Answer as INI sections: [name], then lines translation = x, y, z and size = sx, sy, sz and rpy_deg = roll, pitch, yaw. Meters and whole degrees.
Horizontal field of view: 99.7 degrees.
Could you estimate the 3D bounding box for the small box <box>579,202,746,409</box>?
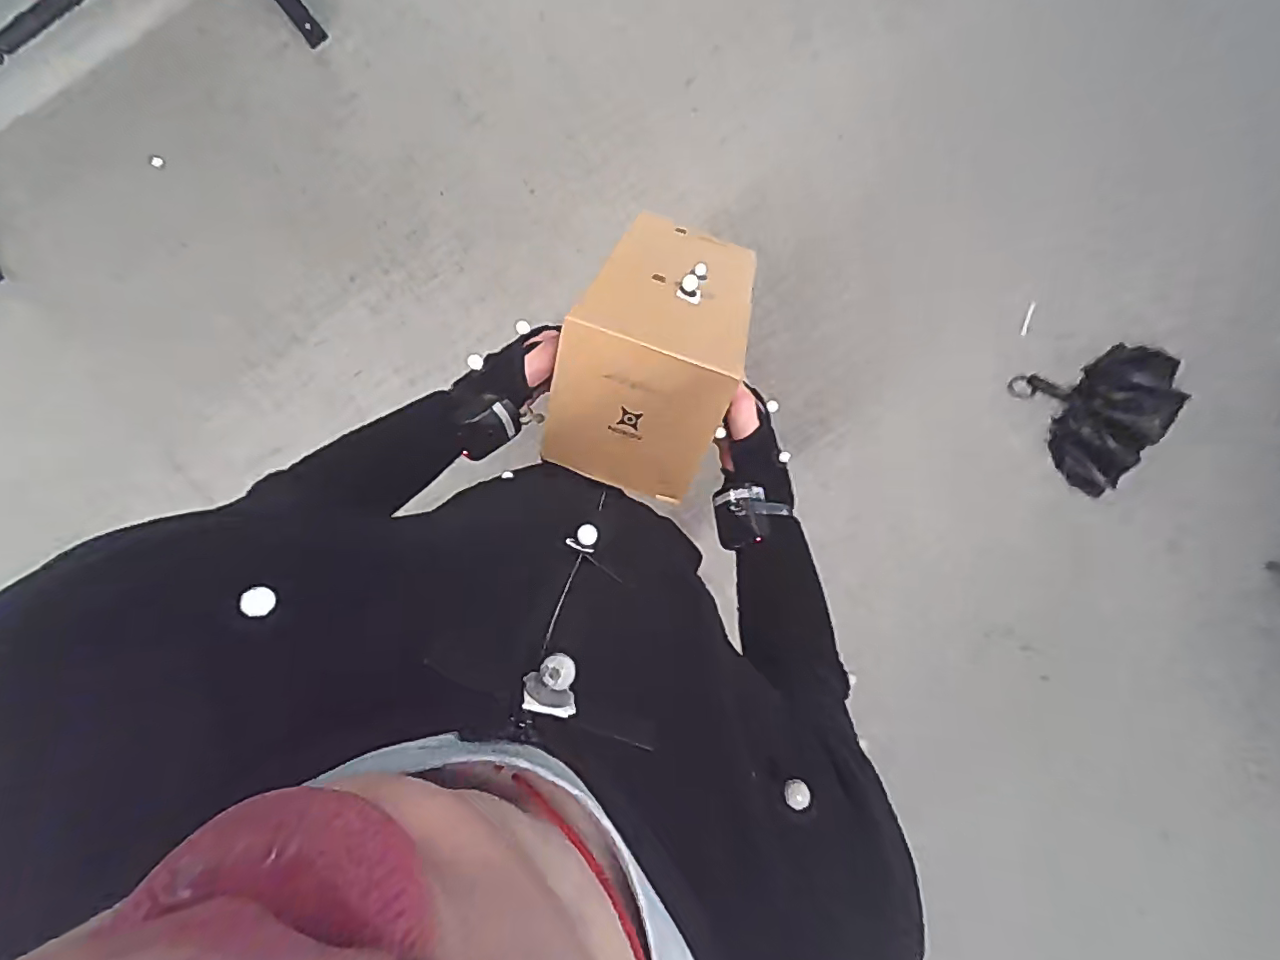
[small box]
translation = 0.034, -0.230, 0.711
size = 0.168, 0.176, 0.179
rpy_deg = 18, 134, -2
